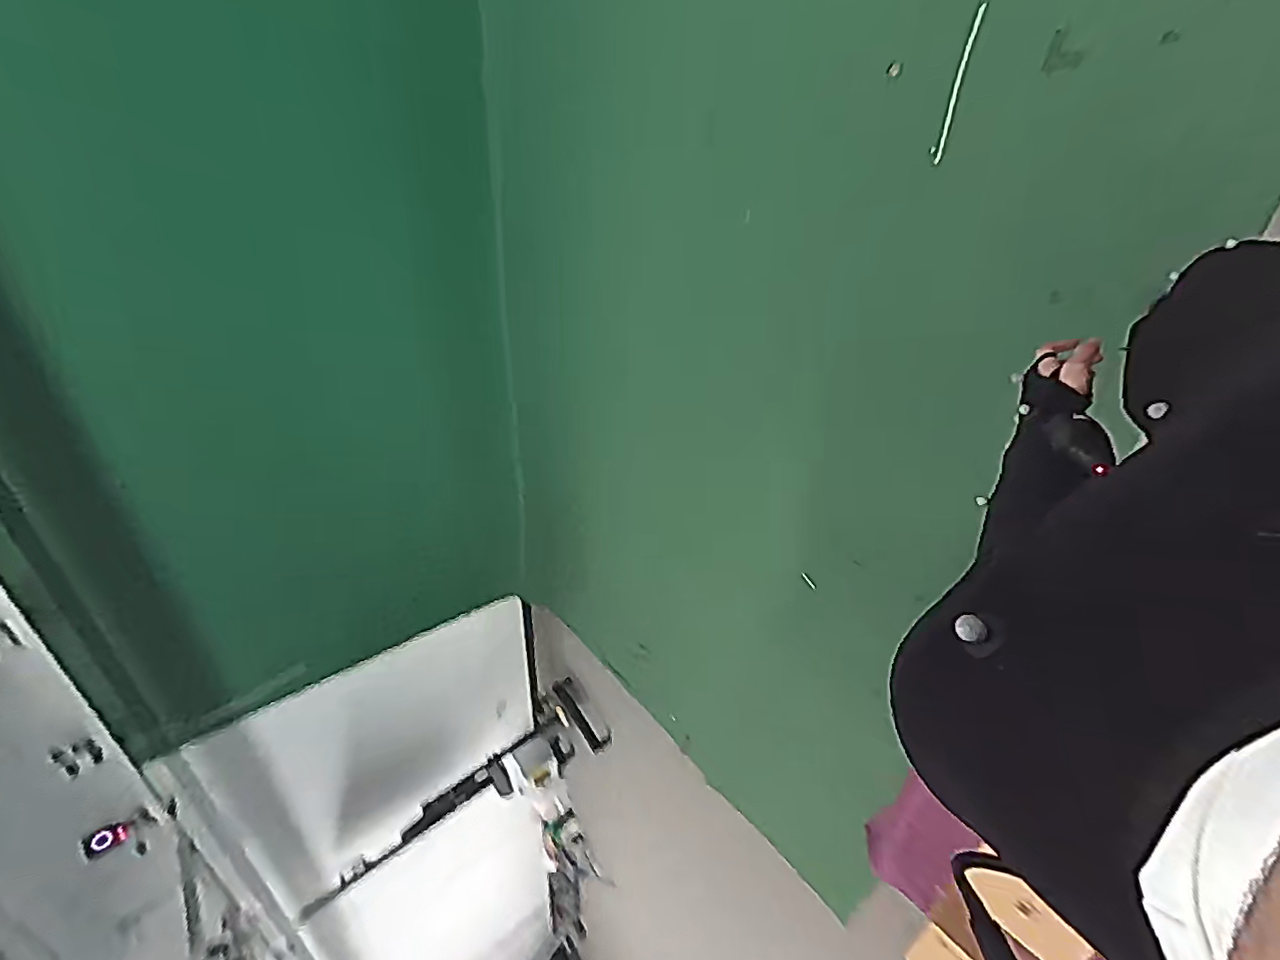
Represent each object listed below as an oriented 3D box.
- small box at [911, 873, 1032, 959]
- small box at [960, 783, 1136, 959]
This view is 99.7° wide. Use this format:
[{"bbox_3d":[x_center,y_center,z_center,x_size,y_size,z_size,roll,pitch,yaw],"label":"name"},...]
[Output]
[{"bbox_3d":[0.657,0.920,1.042,0.168,0.176,0.179,32,131,40],"label":"small box"},{"bbox_3d":[0.667,0.653,0.886,0.168,0.176,0.179,29,128,41],"label":"small box"}]
